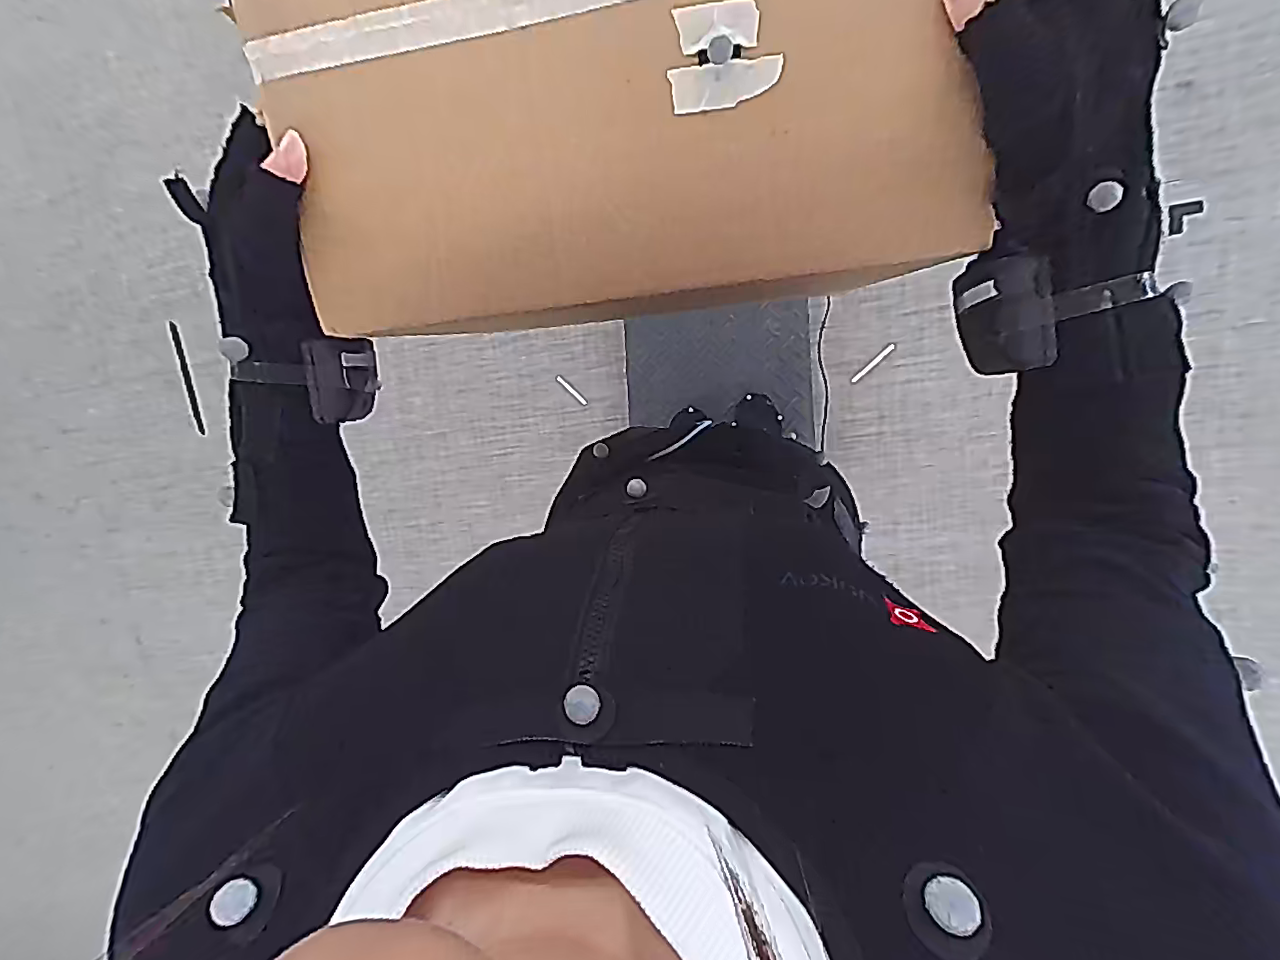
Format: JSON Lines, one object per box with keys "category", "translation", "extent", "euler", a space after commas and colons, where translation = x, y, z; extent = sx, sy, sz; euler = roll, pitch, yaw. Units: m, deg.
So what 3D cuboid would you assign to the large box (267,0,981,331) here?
{"category": "large box", "translation": [-0.006, -0.307, 0.442], "extent": [0.408, 0.320, 0.320], "euler": [-5, 106, 9]}
